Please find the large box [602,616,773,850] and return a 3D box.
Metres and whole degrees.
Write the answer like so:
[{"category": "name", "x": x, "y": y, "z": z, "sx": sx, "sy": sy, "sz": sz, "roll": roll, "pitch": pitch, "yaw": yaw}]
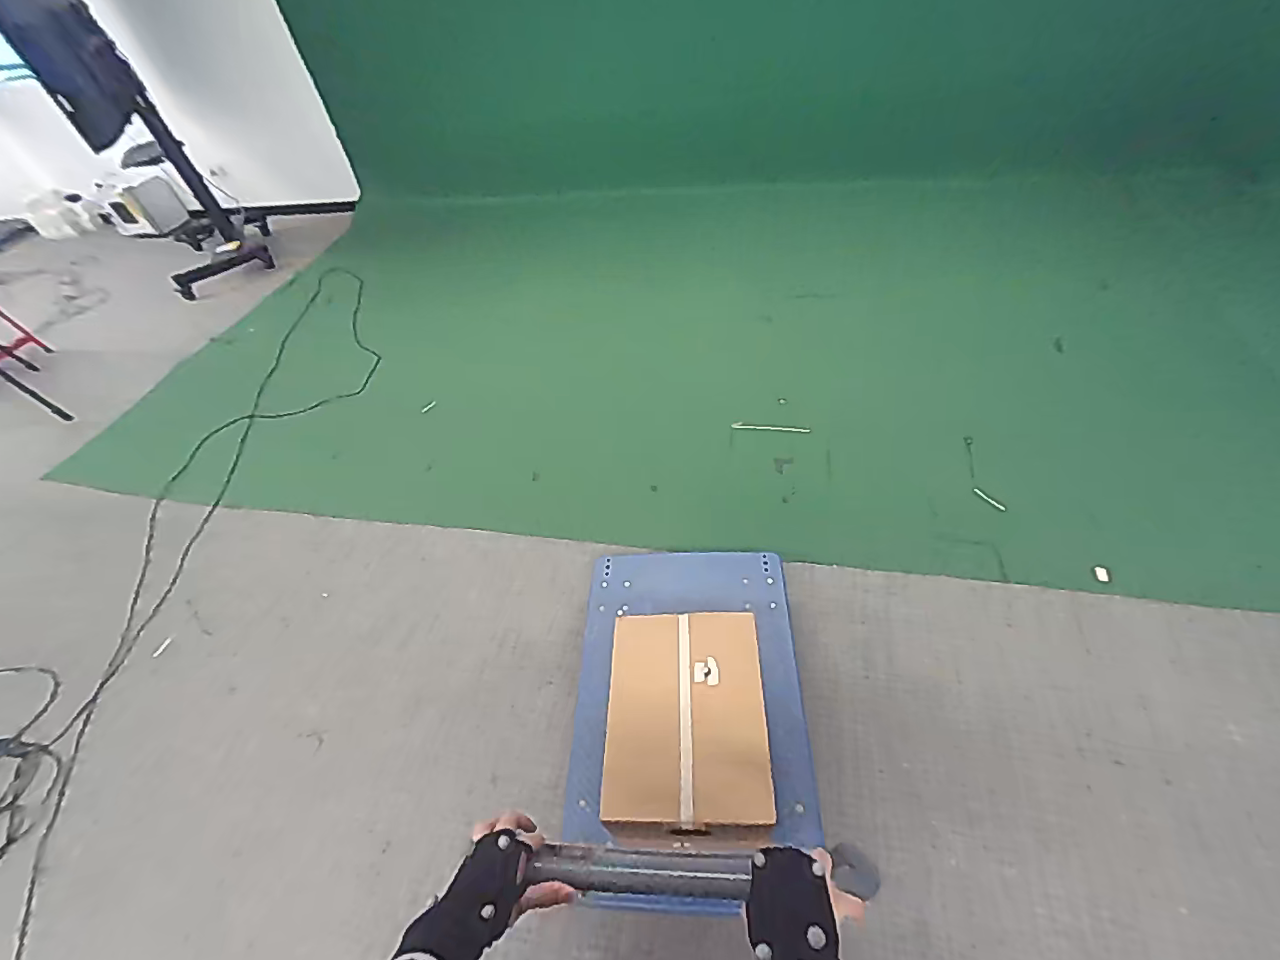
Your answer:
[{"category": "large box", "x": 0.109, "y": 0.560, "z": 1.201, "sx": 0.320, "sy": 0.320, "sz": 0.408, "roll": -3, "pitch": 47, "yaw": 7}]
